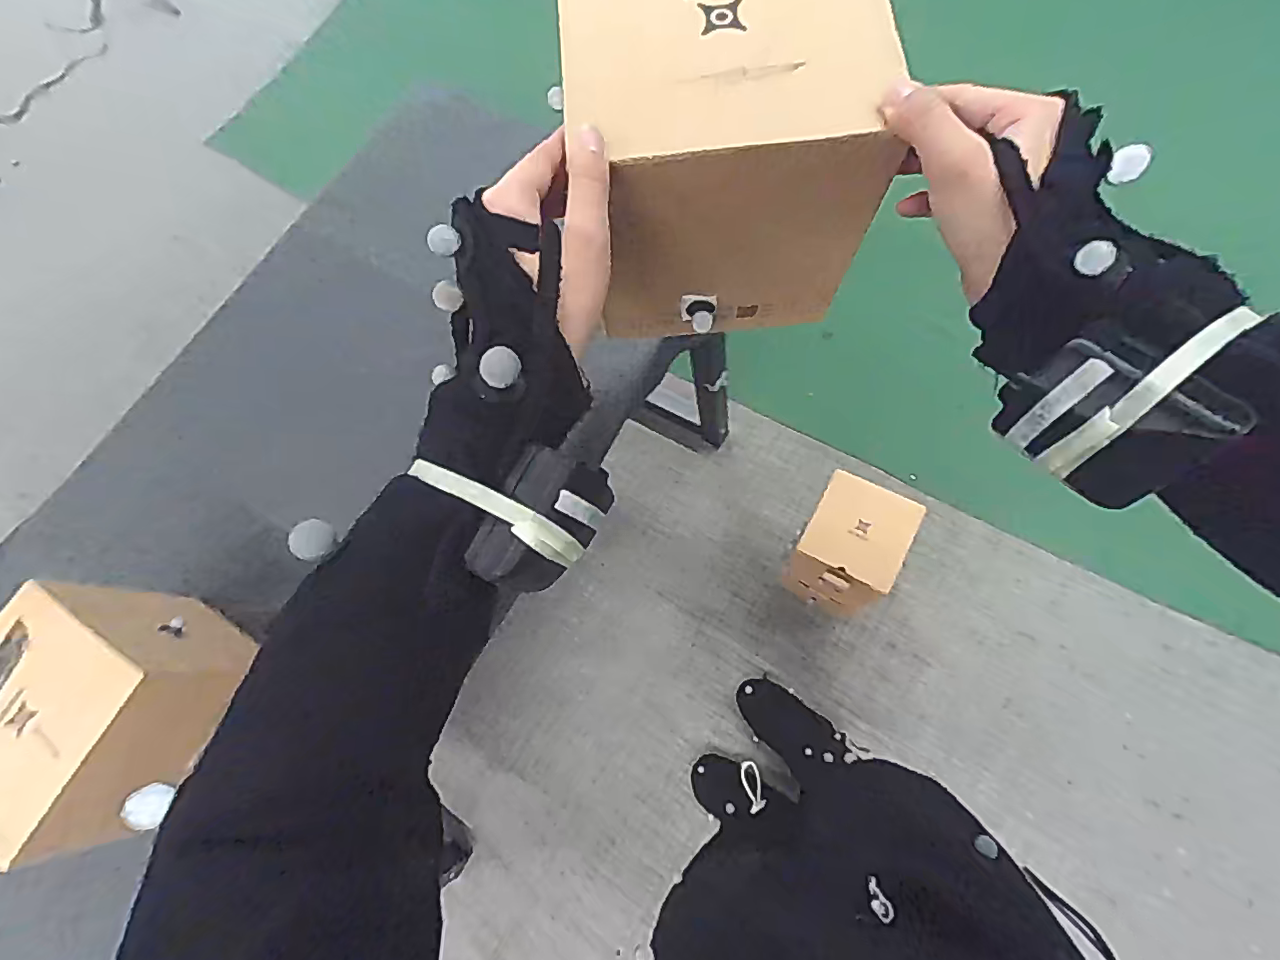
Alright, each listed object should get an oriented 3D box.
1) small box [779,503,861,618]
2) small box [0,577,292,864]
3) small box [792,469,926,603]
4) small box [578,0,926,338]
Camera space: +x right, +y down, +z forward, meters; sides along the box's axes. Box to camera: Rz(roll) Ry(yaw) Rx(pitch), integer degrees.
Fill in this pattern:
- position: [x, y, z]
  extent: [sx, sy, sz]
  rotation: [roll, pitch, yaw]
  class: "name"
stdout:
- position: [0.413, 0.180, 1.165]
  extent: [0.168, 0.176, 0.179]
  rotation: [28, 78, 19]
  class: "small box"
- position: [-0.501, 0.218, 0.527]
  extent: [0.179, 0.176, 0.168]
  rotation: [25, 77, 17]
  class: "small box"
- position: [0.398, 0.111, 1.015]
  extent: [0.168, 0.176, 0.179]
  rotation: [26, 77, 17]
  class: "small box"
- position: [0.053, -0.217, 0.354]
  extent: [0.168, 0.176, 0.179]
  rotation: [-4, 75, 3]
  class: "small box"
